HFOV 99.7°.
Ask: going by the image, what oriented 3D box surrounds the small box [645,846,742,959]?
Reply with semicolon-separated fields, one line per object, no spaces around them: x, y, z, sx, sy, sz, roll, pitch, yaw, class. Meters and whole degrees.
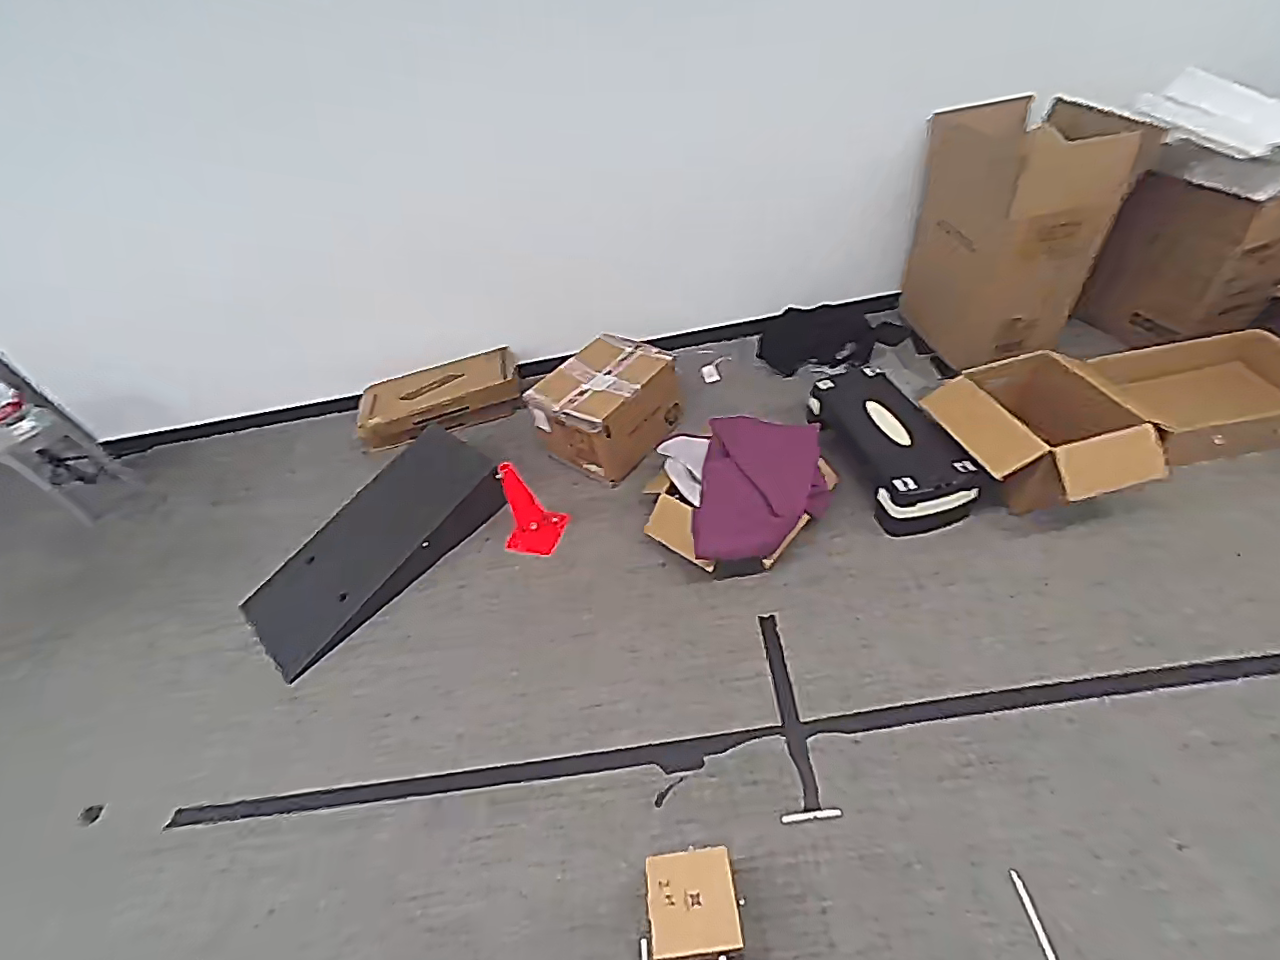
0.114;0.891;1.138;0.179;0.176;0.168;-10;45;4;small box
